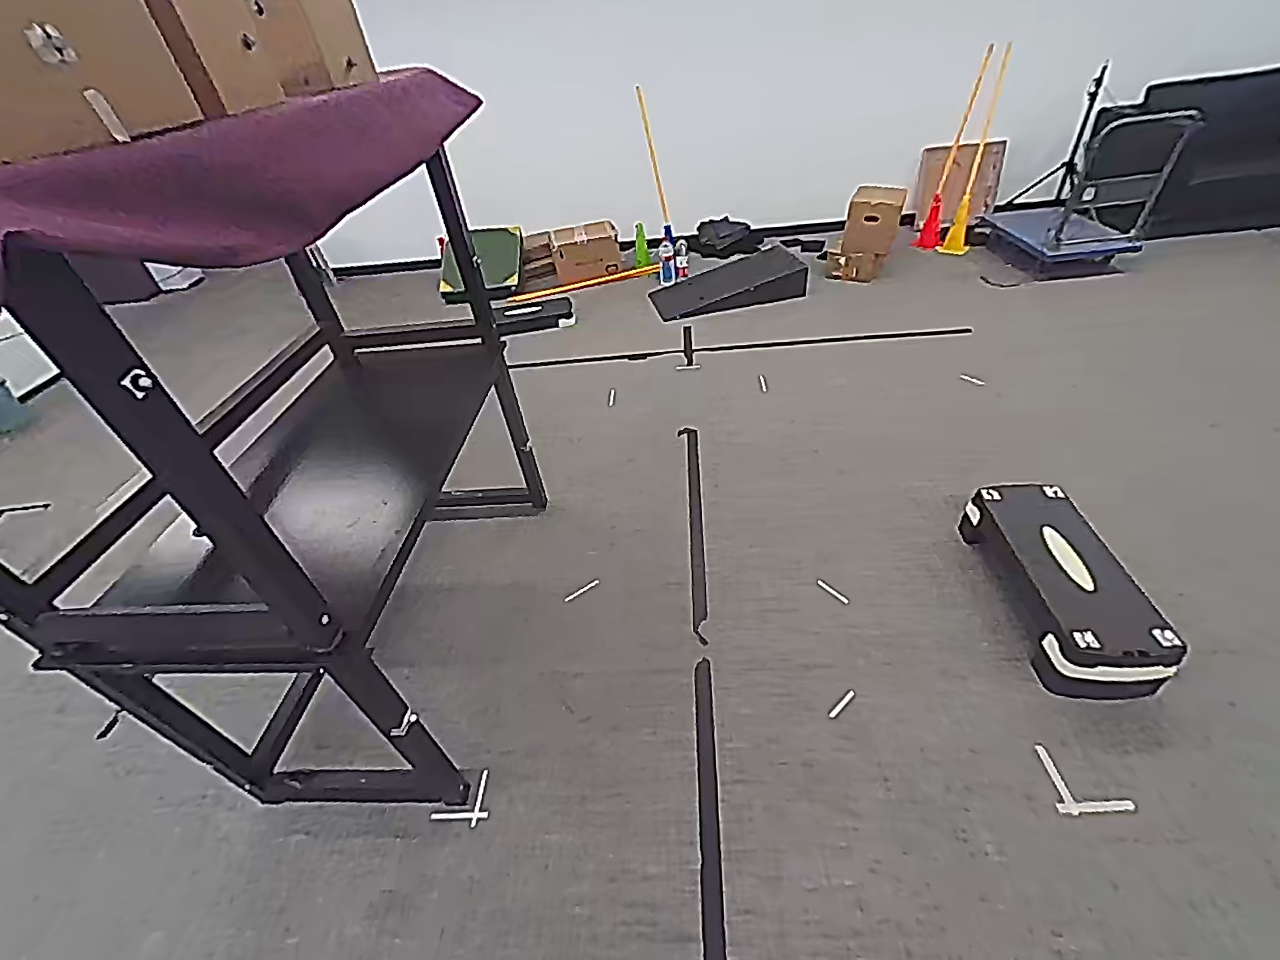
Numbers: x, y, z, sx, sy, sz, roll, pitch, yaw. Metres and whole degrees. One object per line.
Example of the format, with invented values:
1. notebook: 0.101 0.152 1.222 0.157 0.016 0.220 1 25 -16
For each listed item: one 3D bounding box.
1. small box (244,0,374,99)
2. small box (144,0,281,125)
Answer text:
1. small box: -0.717 -0.947 1.182 0.168 0.176 0.179 3 41 14
2. small box: -0.742 -0.695 0.893 0.168 0.176 0.179 -4 40 7
